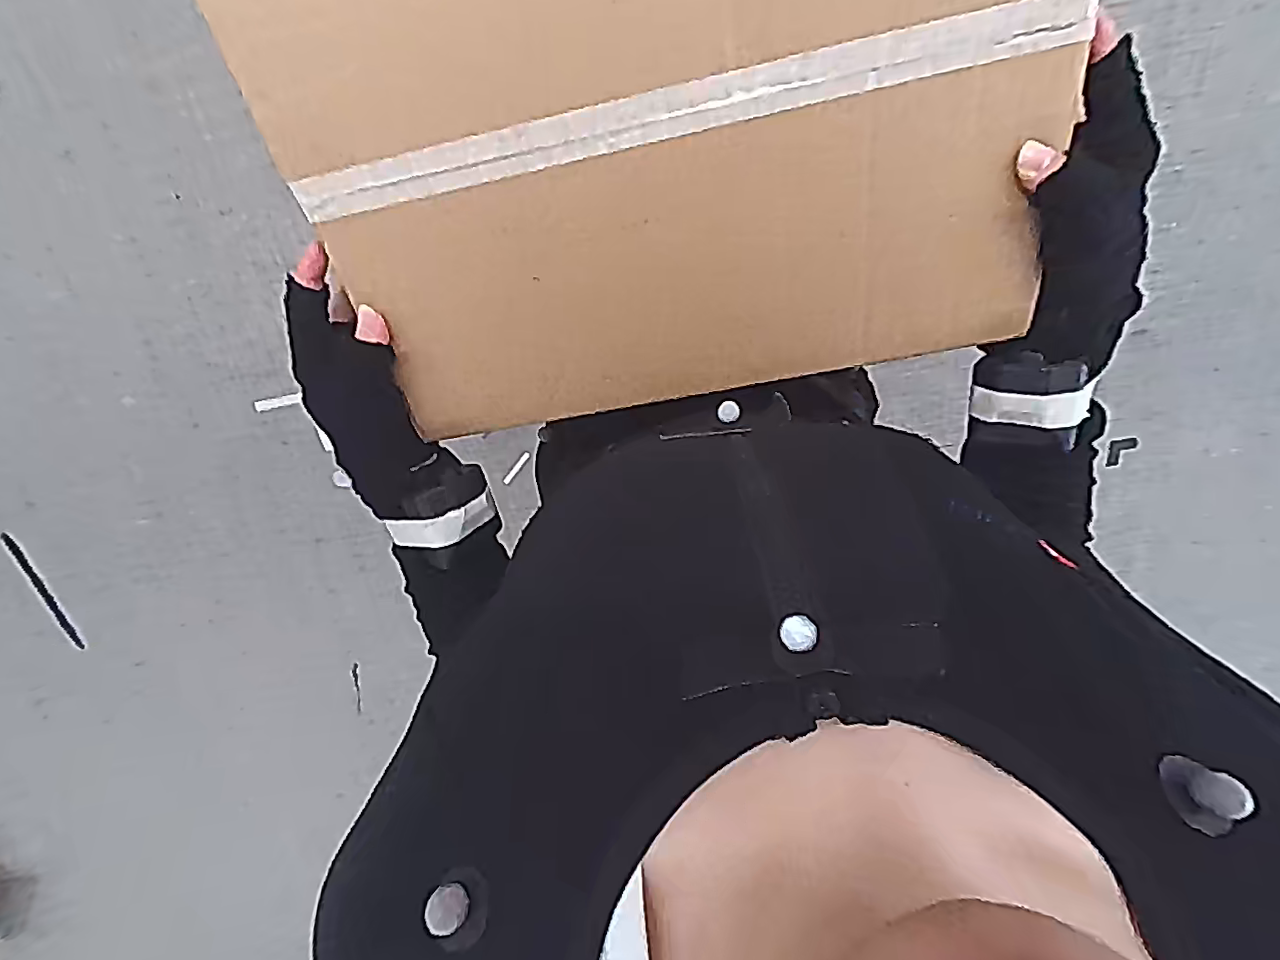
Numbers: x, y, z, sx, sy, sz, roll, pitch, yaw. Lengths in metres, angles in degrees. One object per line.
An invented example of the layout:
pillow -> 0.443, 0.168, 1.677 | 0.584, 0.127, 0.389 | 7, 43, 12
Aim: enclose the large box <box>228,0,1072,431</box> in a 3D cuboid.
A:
large box -> 0.013, -0.274, 0.409 | 0.408, 0.320, 0.320 | -9, 125, 6
